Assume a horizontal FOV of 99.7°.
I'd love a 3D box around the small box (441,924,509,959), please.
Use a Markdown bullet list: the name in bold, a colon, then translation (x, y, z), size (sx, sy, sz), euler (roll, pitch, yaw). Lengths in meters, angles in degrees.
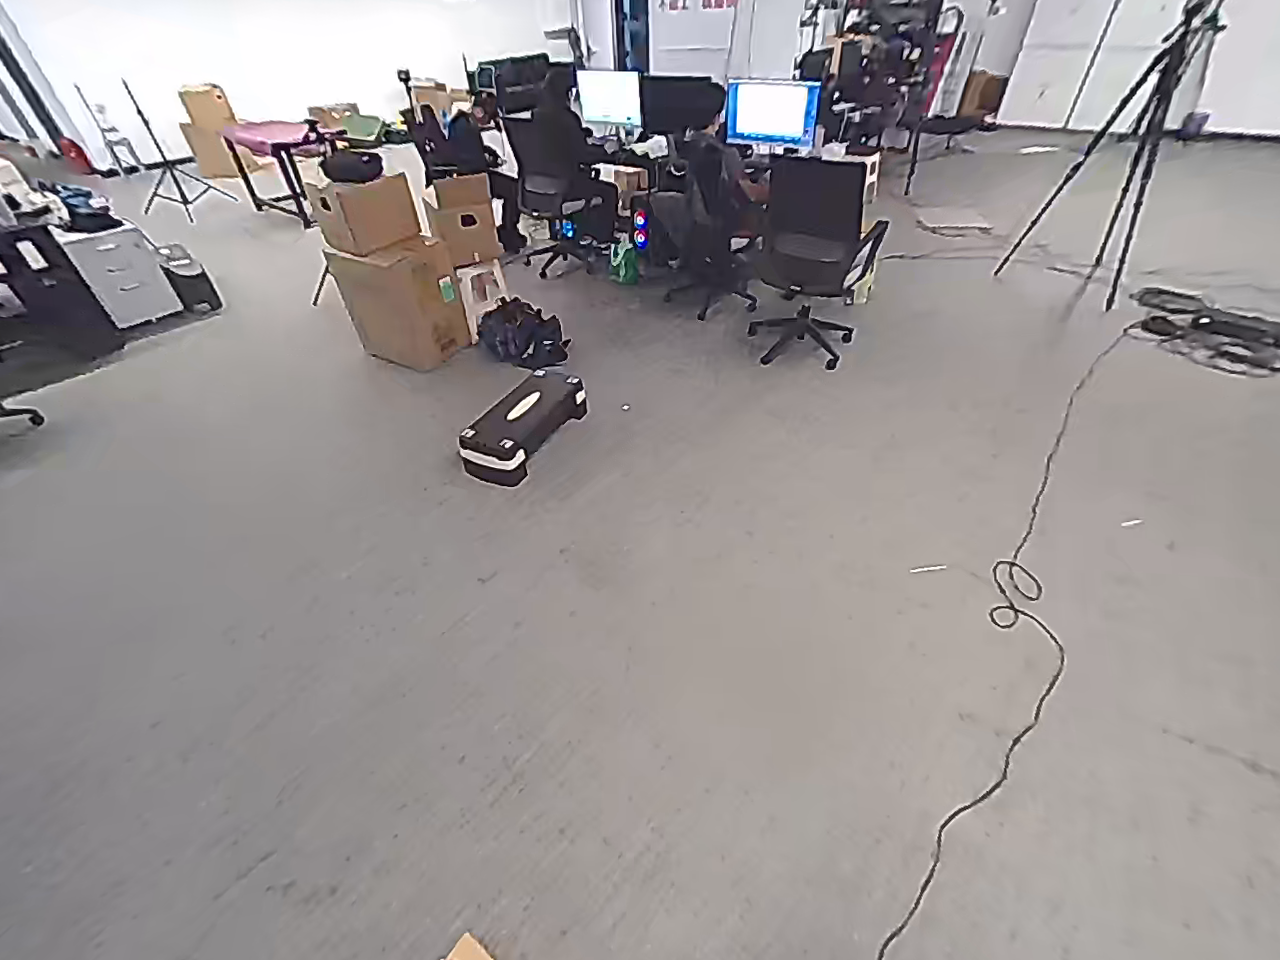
- **small box**: translation (-0.328, 1.046, 1.081), size (0.179, 0.176, 0.168), euler (25, 48, 27)
